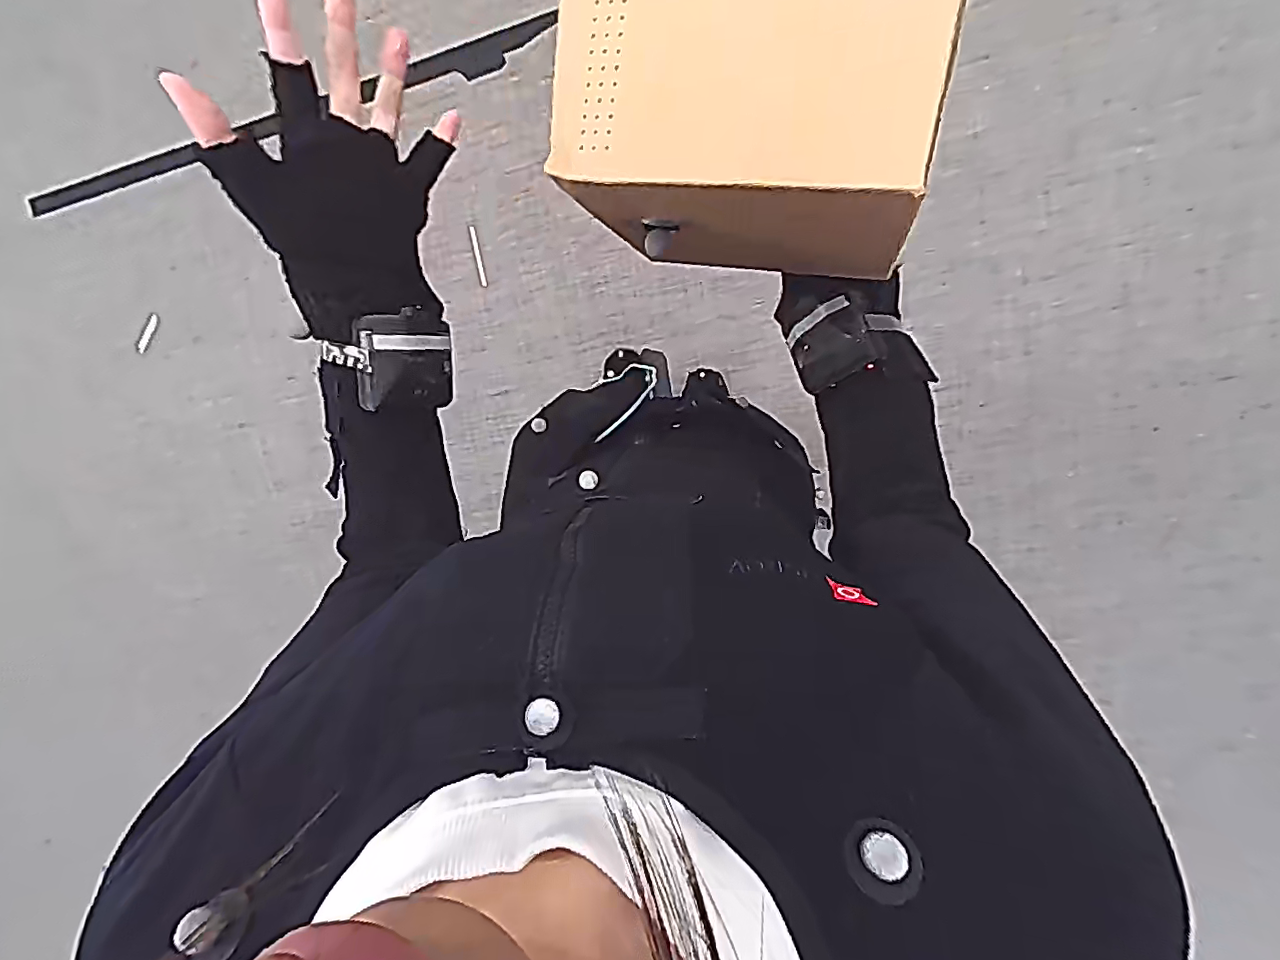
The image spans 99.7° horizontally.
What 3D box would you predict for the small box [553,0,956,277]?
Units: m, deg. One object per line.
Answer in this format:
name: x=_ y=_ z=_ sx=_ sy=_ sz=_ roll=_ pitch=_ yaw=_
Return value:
small box: x=0.067 y=-0.225 z=0.297 sx=0.176 sy=0.168 sz=0.179 roll=13 pitch=102 yaw=18
